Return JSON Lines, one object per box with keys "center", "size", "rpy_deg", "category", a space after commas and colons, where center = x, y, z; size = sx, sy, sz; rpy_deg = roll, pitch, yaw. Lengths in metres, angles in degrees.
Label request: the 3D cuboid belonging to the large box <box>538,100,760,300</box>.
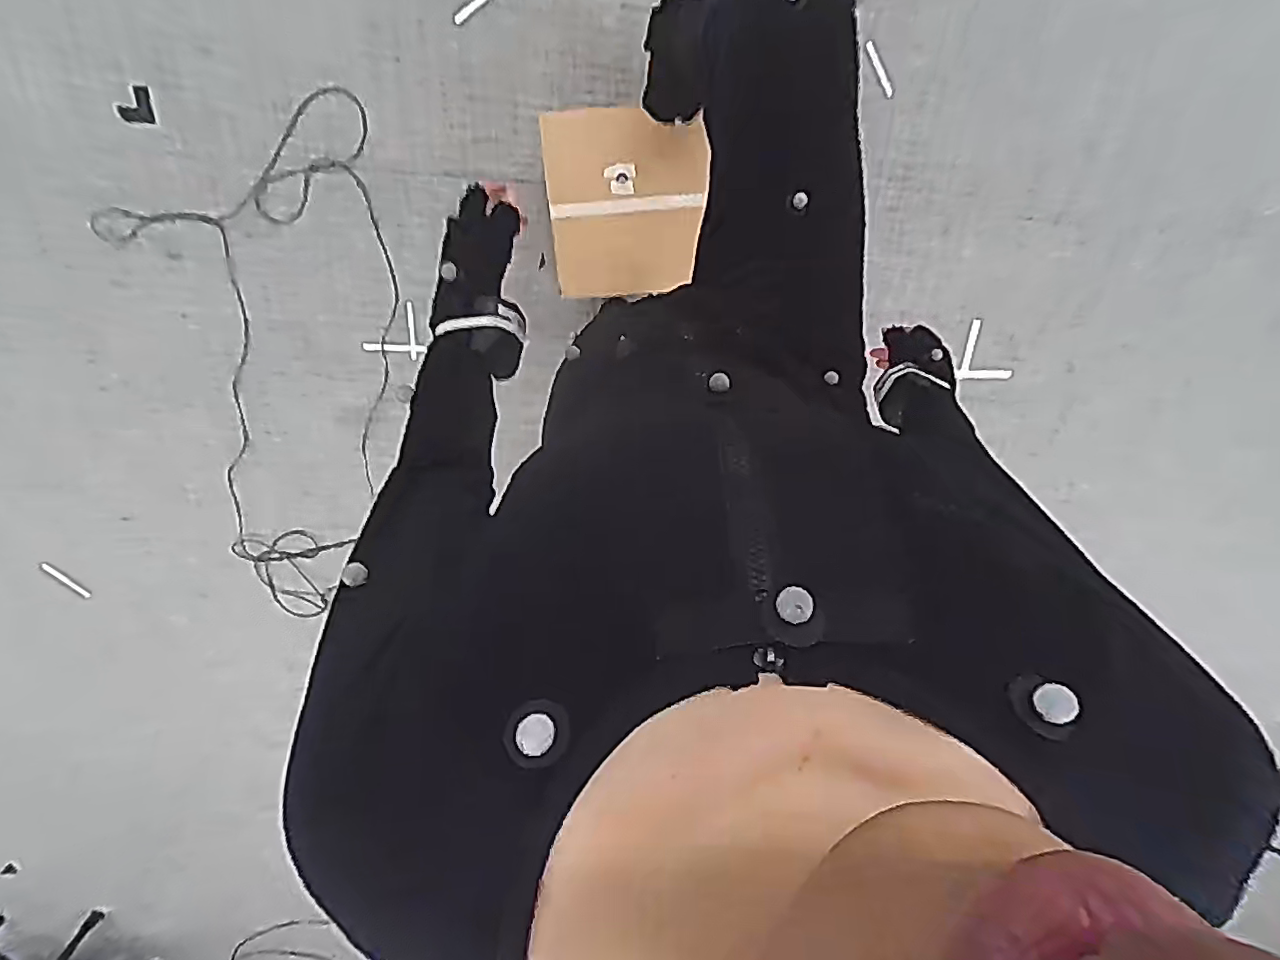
{"center": [0.019, -0.574, 1.148], "size": [0.408, 0.320, 0.320], "rpy_deg": [-5, 113, -2], "category": "large box"}
